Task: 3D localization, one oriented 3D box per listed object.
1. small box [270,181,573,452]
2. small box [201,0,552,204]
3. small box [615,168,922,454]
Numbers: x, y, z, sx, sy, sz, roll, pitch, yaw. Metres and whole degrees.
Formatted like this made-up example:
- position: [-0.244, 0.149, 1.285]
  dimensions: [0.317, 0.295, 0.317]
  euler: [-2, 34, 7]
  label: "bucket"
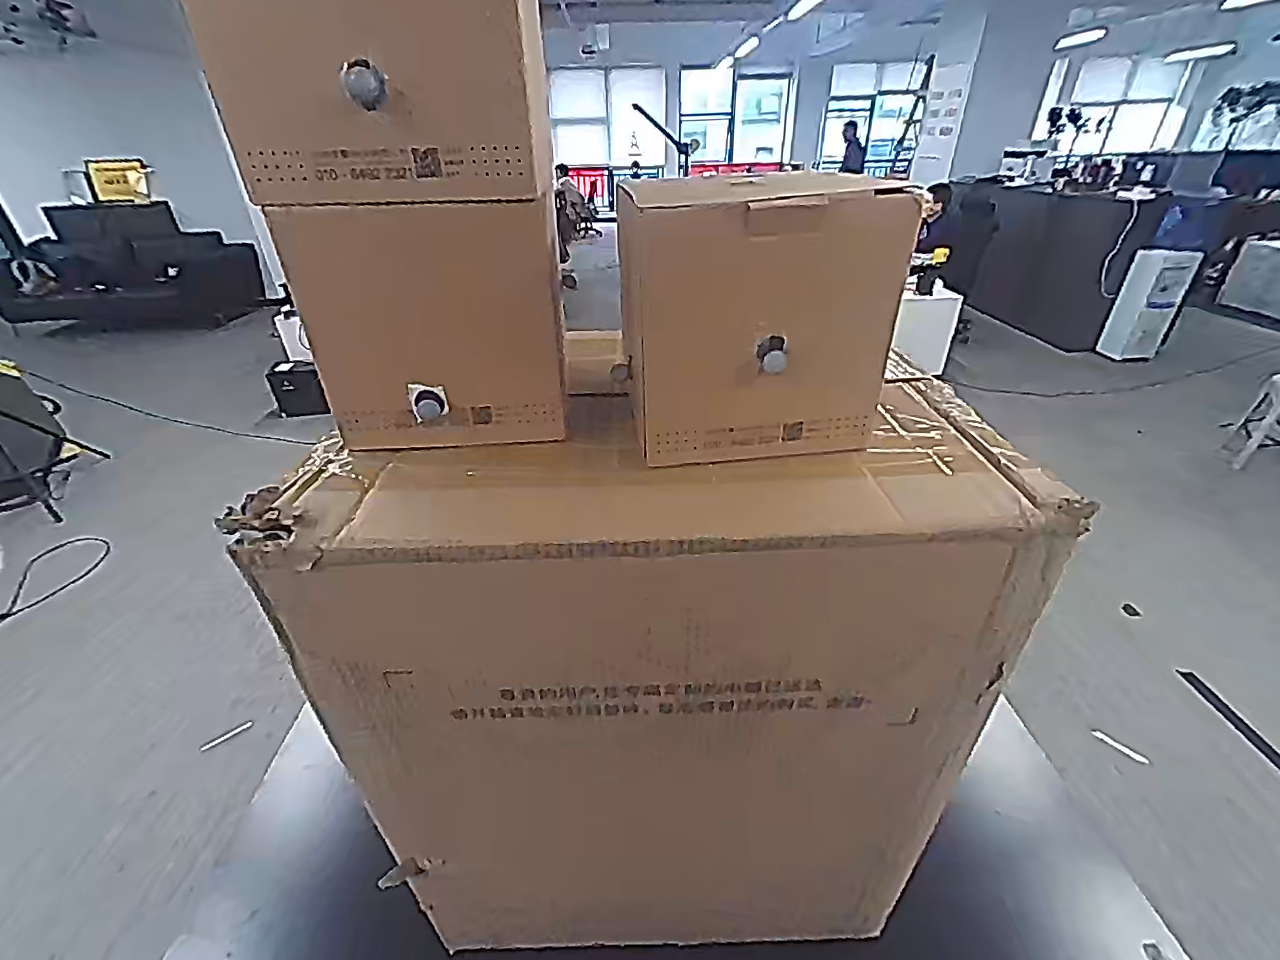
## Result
- position: [-0.144, -0.137, 0.432]
  dimensions: [0.168, 0.176, 0.179]
  euler: [-5, 34, -5]
  label: "small box"
- position: [-0.149, -0.276, 0.342]
  dimensions: [0.168, 0.176, 0.179]
  euler: [-4, 32, -3]
  label: "small box"
- position: [0.073, -0.129, 0.408]
  dimensions: [0.168, 0.176, 0.179]
  euler: [-5, 33, -5]
  label: "small box"
